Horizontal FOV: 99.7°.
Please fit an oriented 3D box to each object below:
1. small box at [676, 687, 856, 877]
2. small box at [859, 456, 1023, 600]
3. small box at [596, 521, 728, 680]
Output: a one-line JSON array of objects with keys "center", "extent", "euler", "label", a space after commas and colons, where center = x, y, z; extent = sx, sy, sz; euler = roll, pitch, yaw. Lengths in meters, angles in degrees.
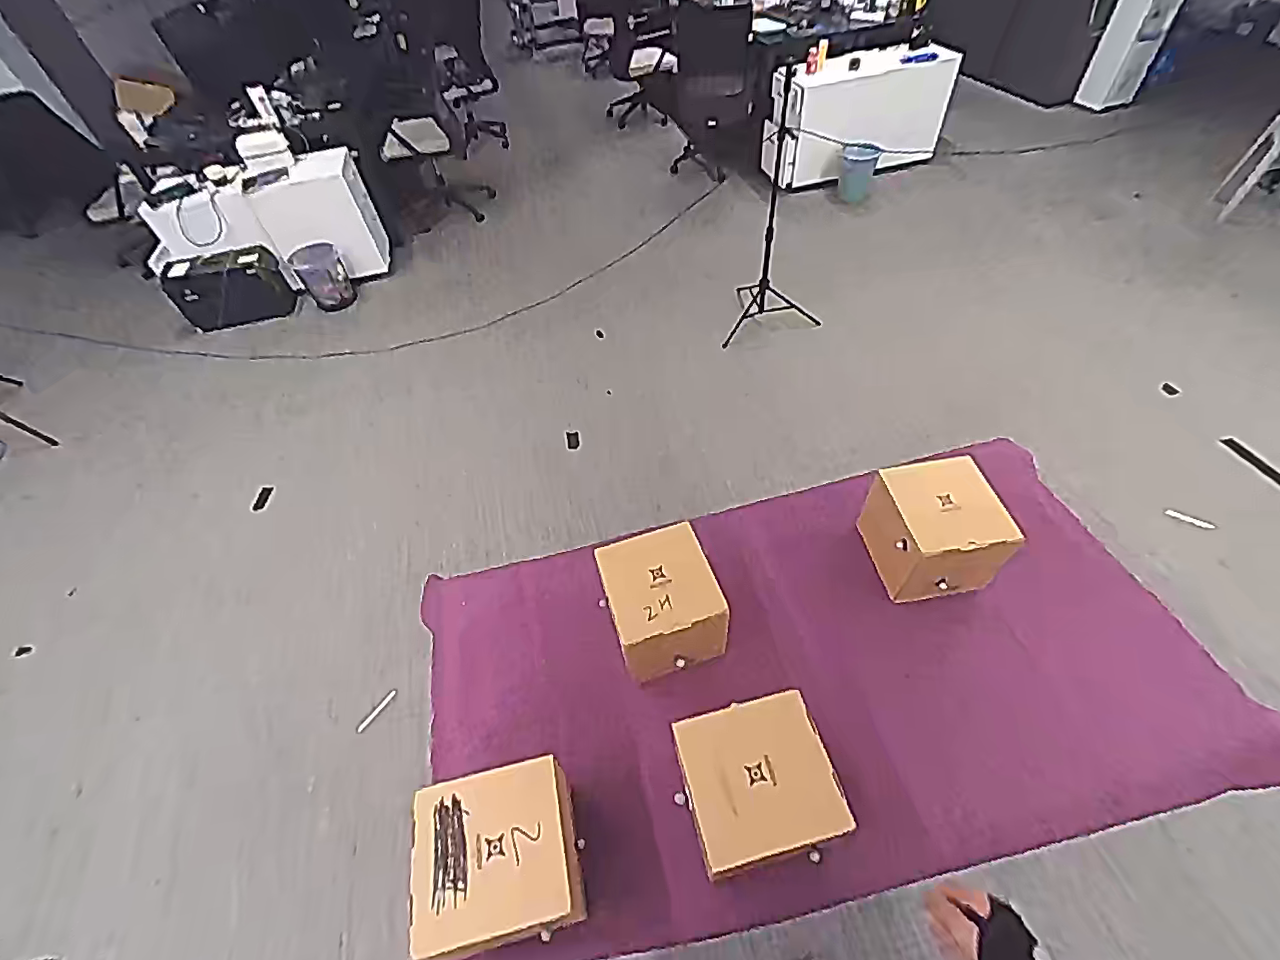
[{"center": [0.150, 0.401, 0.716], "extent": [0.179, 0.176, 0.168], "euler": [-13, 50, -6], "label": "small box"}, {"center": [0.506, 0.085, 0.944], "extent": [0.168, 0.176, 0.179], "euler": [-9, 51, -1], "label": "small box"}, {"center": [0.034, 0.201, 0.898], "extent": [0.168, 0.176, 0.179], "euler": [-17, 51, -7], "label": "small box"}]
